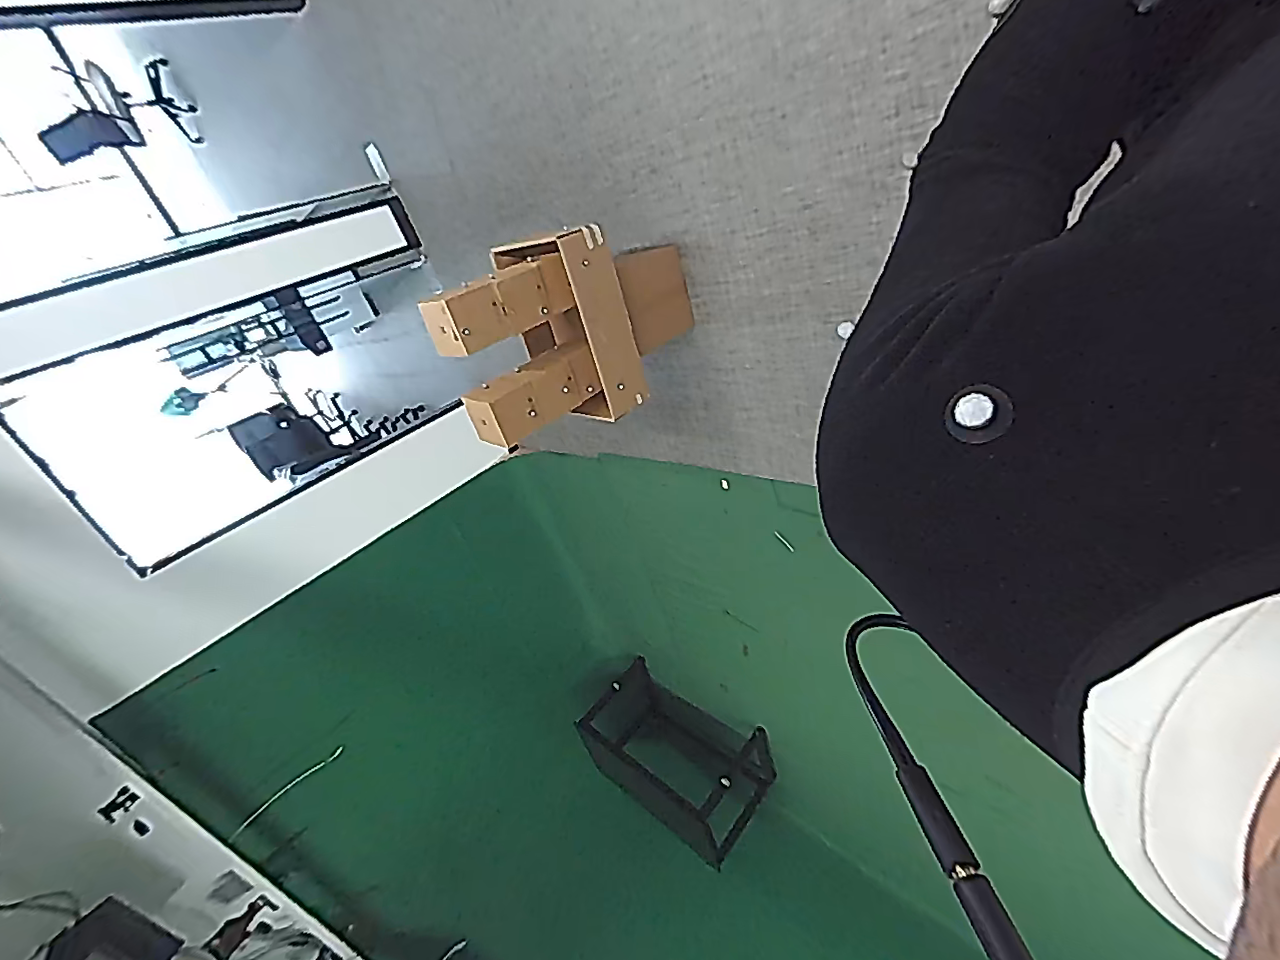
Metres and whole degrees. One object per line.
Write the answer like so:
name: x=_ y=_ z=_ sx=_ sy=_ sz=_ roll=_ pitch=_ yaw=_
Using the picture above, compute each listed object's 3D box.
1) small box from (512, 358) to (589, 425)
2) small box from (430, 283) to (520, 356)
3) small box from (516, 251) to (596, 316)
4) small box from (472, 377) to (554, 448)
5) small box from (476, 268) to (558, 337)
small box: x=-0.306 y=-0.314 z=1.872 sx=0.179 sy=0.176 sz=0.168 roll=18 pitch=135 yaw=42
small box: x=-0.495 y=-0.485 z=1.637 sx=0.179 sy=0.176 sz=0.168 roll=14 pitch=131 yaw=44
small box: x=-0.277 y=-0.657 z=1.813 sx=0.179 sy=0.176 sz=0.168 roll=15 pitch=132 yaw=43
small box: x=-0.415 y=-0.230 z=1.785 sx=0.179 sy=0.176 sz=0.168 roll=17 pitch=135 yaw=43
small box: x=-0.382 y=-0.568 z=1.722 sx=0.179 sy=0.176 sz=0.168 roll=17 pitch=133 yaw=42
